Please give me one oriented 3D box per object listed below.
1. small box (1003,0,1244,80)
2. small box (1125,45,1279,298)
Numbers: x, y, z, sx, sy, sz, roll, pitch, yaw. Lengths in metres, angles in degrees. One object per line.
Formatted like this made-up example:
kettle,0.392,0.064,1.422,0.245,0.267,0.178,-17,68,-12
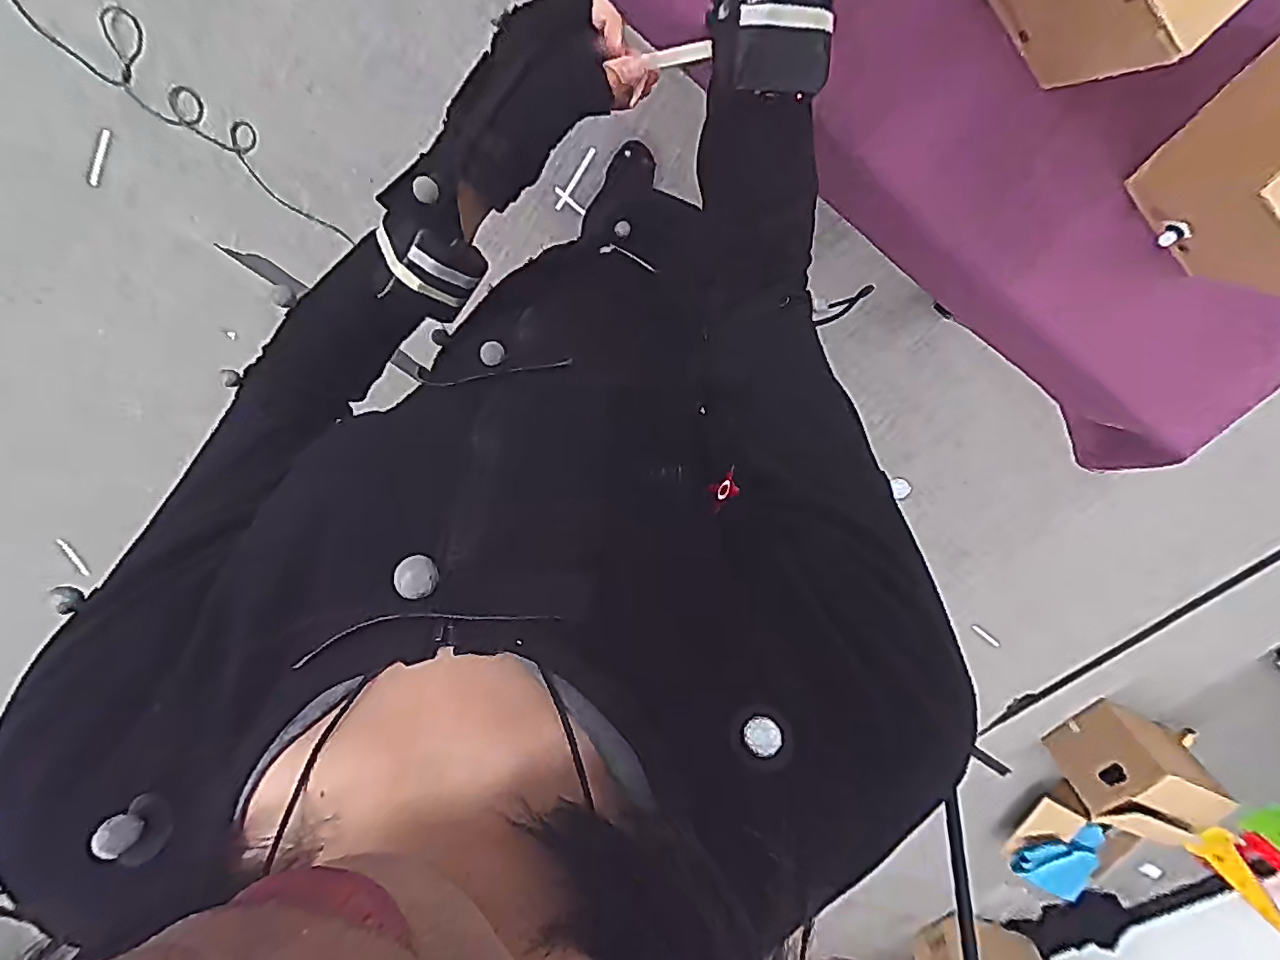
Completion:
small box,0.417,-0.469,0.434,0.168,0.176,0.179,38,112,-20
small box,0.653,-0.305,0.528,0.168,0.176,0.179,35,115,-16
